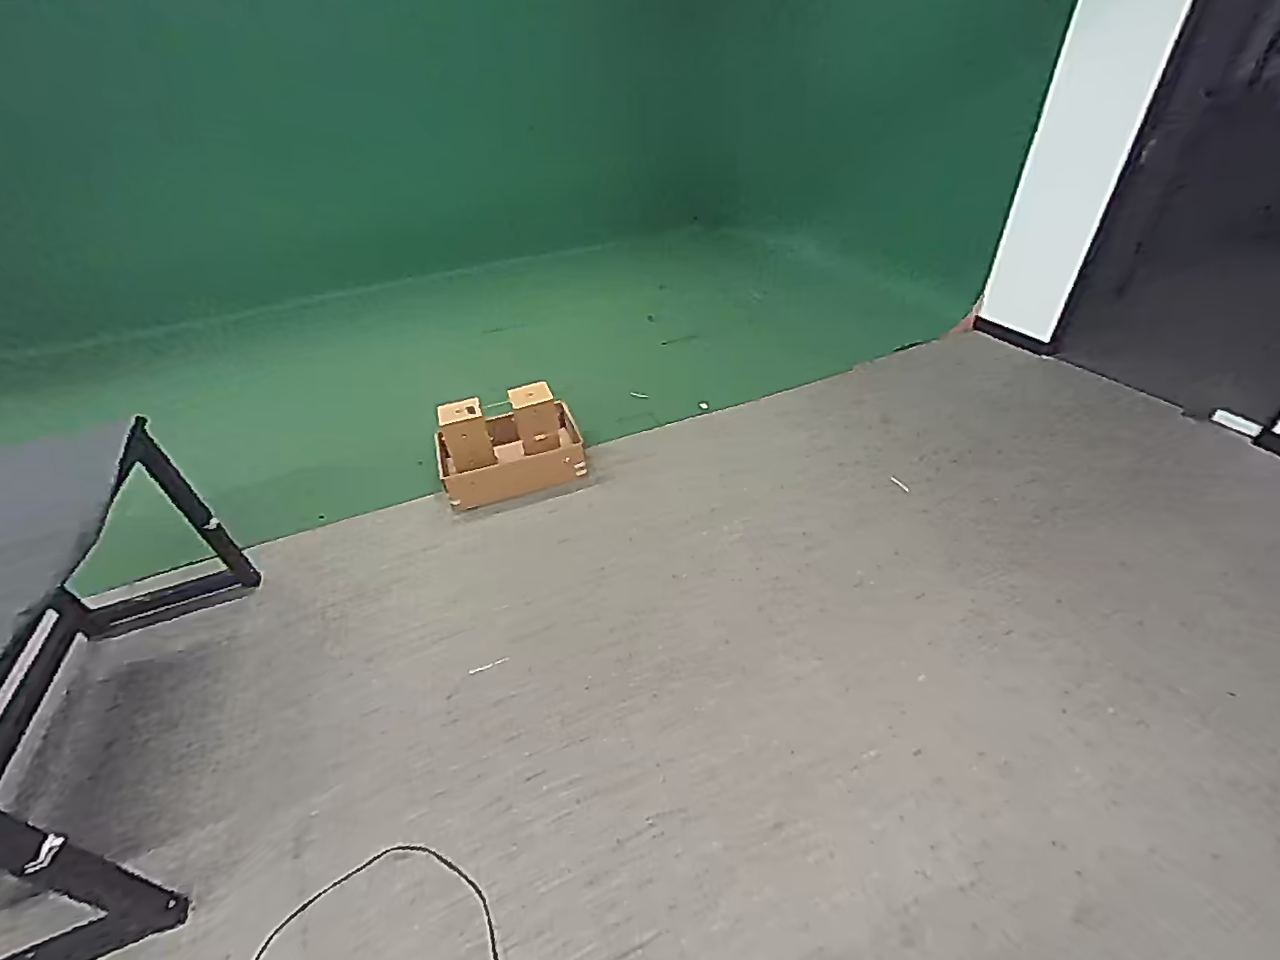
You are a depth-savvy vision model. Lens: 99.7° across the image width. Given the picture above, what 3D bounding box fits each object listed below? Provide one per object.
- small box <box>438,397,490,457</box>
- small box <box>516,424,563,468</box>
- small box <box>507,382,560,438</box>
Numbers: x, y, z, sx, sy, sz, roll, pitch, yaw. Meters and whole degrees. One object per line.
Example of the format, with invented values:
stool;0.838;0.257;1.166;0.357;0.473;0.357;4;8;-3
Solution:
small box;-0.744;-0.224;2.296;0.179;0.176;0.168;-16;40;-12
small box;-0.456;-0.172;2.466;0.168;0.176;0.179;-15;41;-11
small box;-0.466;-0.304;2.369;0.179;0.176;0.168;-17;42;-14
